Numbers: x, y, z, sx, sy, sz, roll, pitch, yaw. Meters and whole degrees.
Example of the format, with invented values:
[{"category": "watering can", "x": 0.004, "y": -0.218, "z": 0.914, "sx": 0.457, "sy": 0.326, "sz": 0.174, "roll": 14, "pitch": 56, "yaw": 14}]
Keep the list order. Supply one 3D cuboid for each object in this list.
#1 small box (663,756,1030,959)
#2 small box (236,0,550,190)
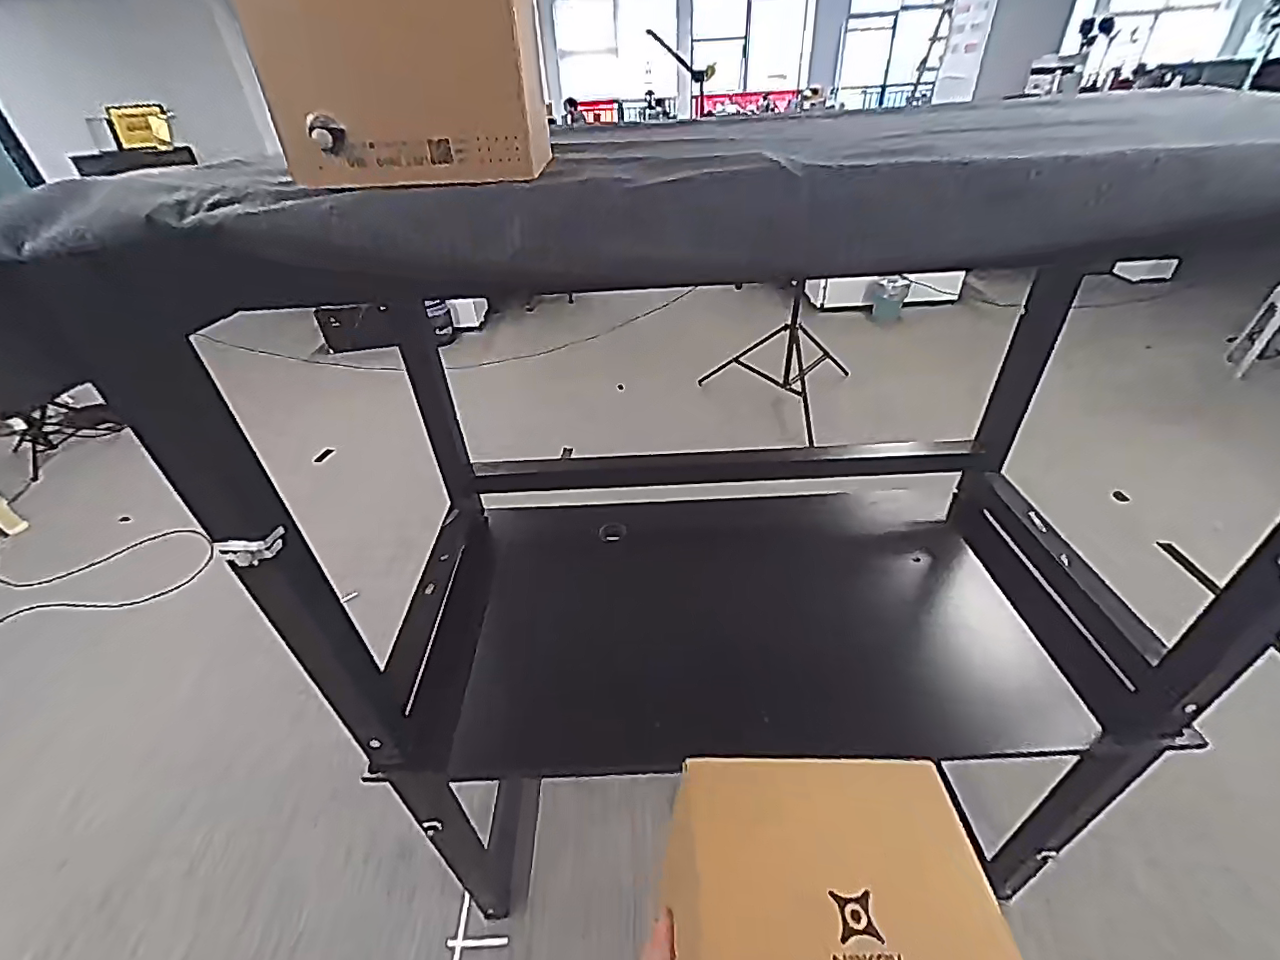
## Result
[{"category": "small box", "x": 0.106, "y": 0.294, "z": 0.322, "sx": 0.168, "sy": 0.176, "sz": 0.179, "roll": 2, "pitch": 36, "yaw": -4}, {"category": "small box", "x": -0.162, "y": -0.316, "z": 0.399, "sx": 0.168, "sy": 0.176, "sz": 0.179, "roll": -3, "pitch": 34, "yaw": -2}]
